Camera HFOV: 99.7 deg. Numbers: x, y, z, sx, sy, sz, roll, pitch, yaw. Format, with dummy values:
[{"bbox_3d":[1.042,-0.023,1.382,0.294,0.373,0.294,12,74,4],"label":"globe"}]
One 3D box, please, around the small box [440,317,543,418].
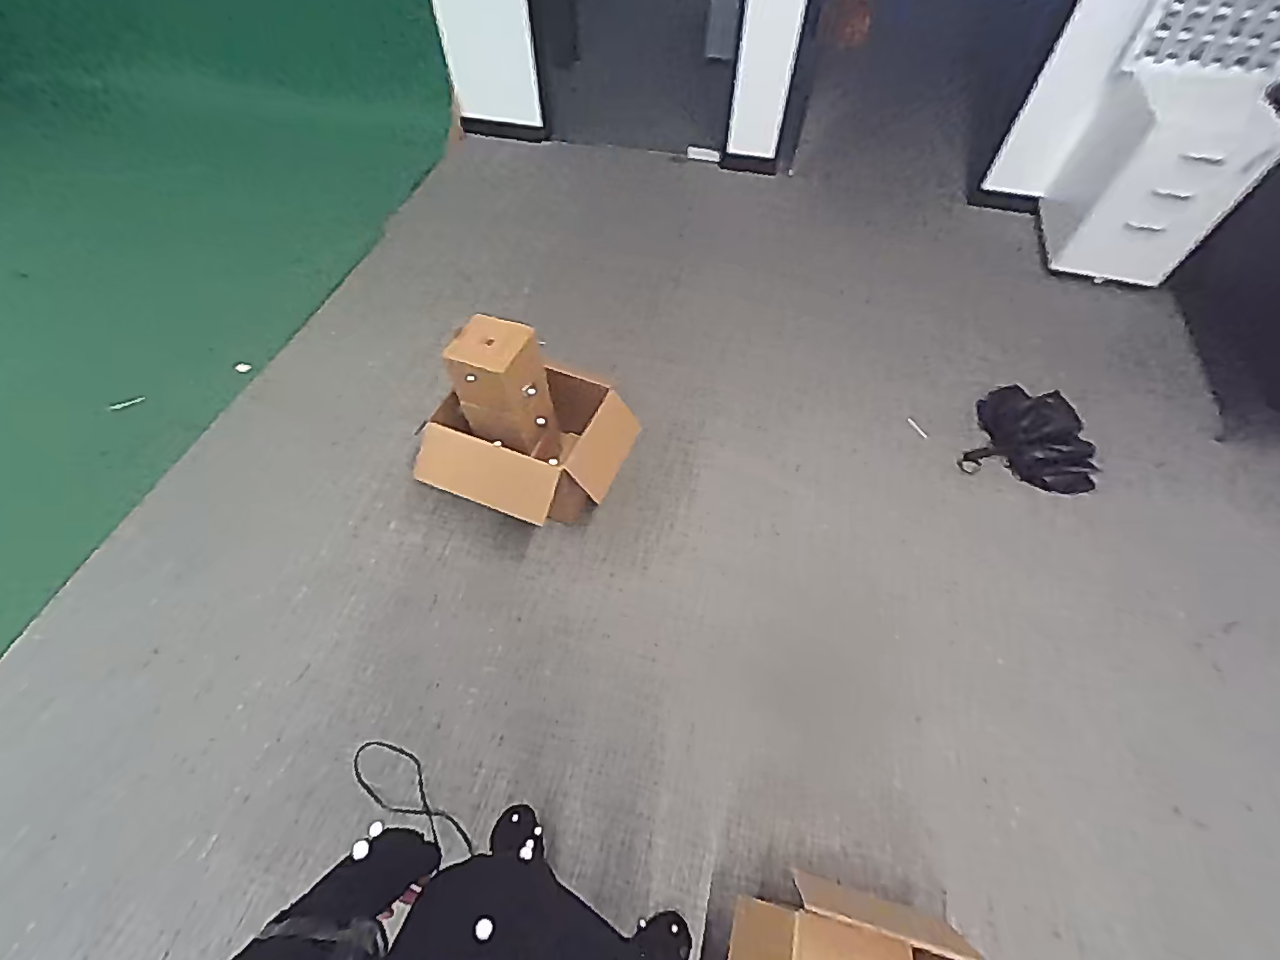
[{"bbox_3d":[-0.370,-0.283,1.382,0.179,0.176,0.168,17,59,13],"label":"small box"}]
